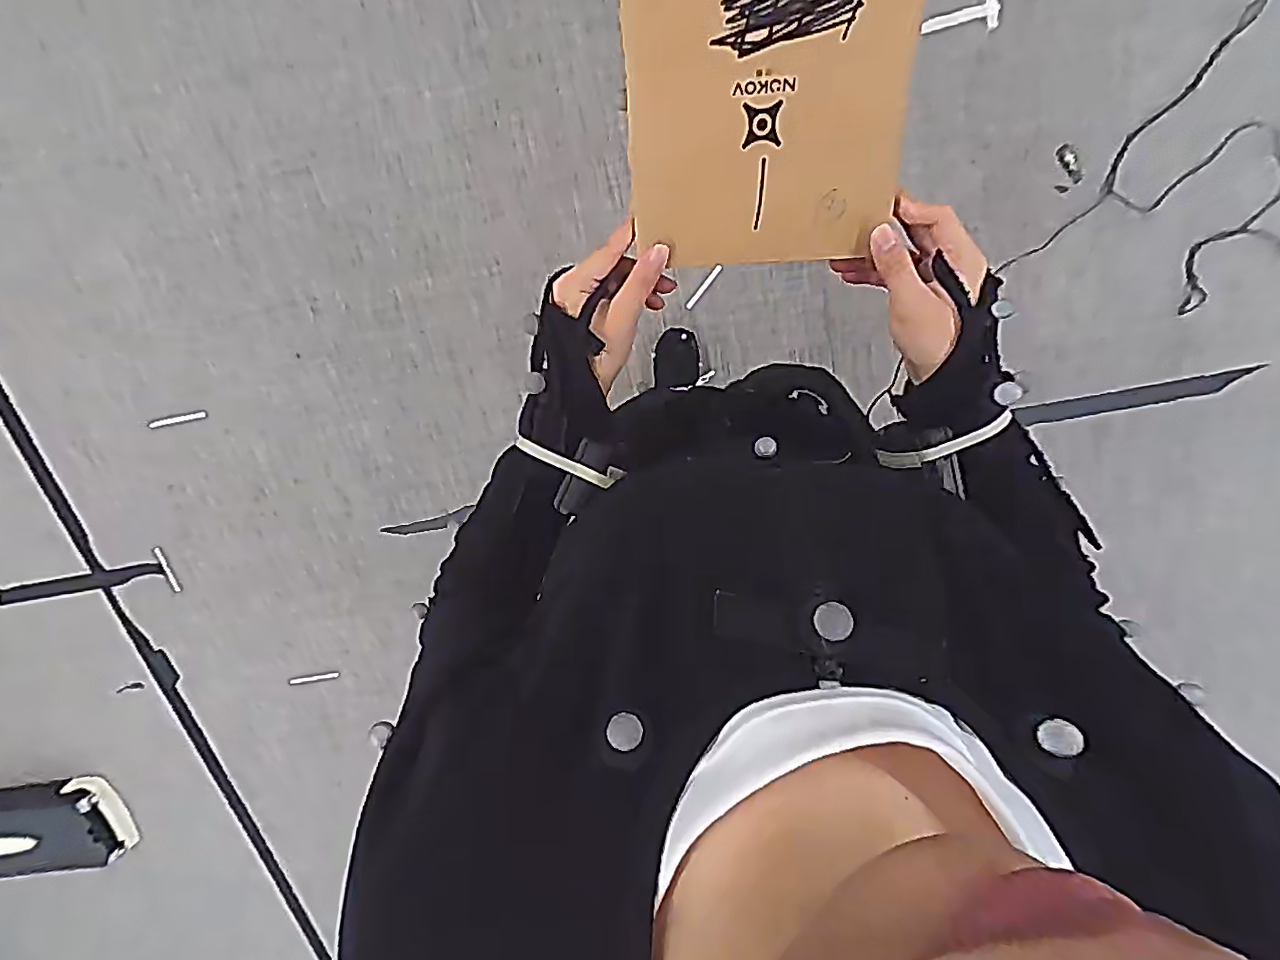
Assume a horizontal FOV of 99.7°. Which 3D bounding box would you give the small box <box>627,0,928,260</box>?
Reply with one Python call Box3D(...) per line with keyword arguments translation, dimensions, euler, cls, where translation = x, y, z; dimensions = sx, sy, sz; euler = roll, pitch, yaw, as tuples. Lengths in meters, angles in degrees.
Box3D(translation=(0.082, -0.265, 0.386), dimensions=(0.168, 0.176, 0.179), euler=(0, 121, 7), cls="small box")
